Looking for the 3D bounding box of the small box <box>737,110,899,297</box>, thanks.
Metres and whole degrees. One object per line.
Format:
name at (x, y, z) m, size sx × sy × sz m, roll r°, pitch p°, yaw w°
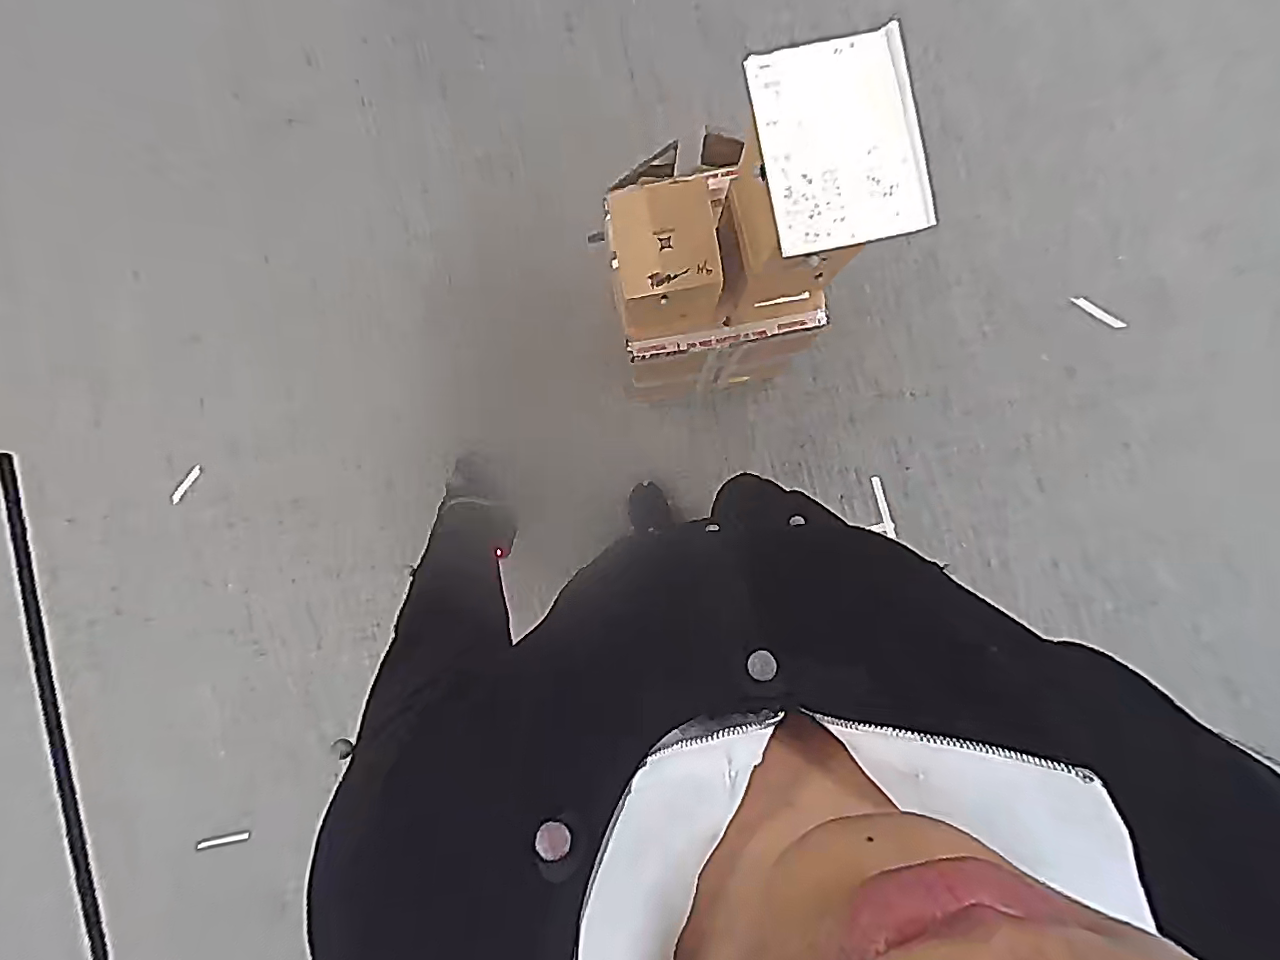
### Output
small box at (0.249, -0.395, 0.798) m, size 0.168 × 0.176 × 0.179 m, roll -11°, pitch 90°, yaw 0°
